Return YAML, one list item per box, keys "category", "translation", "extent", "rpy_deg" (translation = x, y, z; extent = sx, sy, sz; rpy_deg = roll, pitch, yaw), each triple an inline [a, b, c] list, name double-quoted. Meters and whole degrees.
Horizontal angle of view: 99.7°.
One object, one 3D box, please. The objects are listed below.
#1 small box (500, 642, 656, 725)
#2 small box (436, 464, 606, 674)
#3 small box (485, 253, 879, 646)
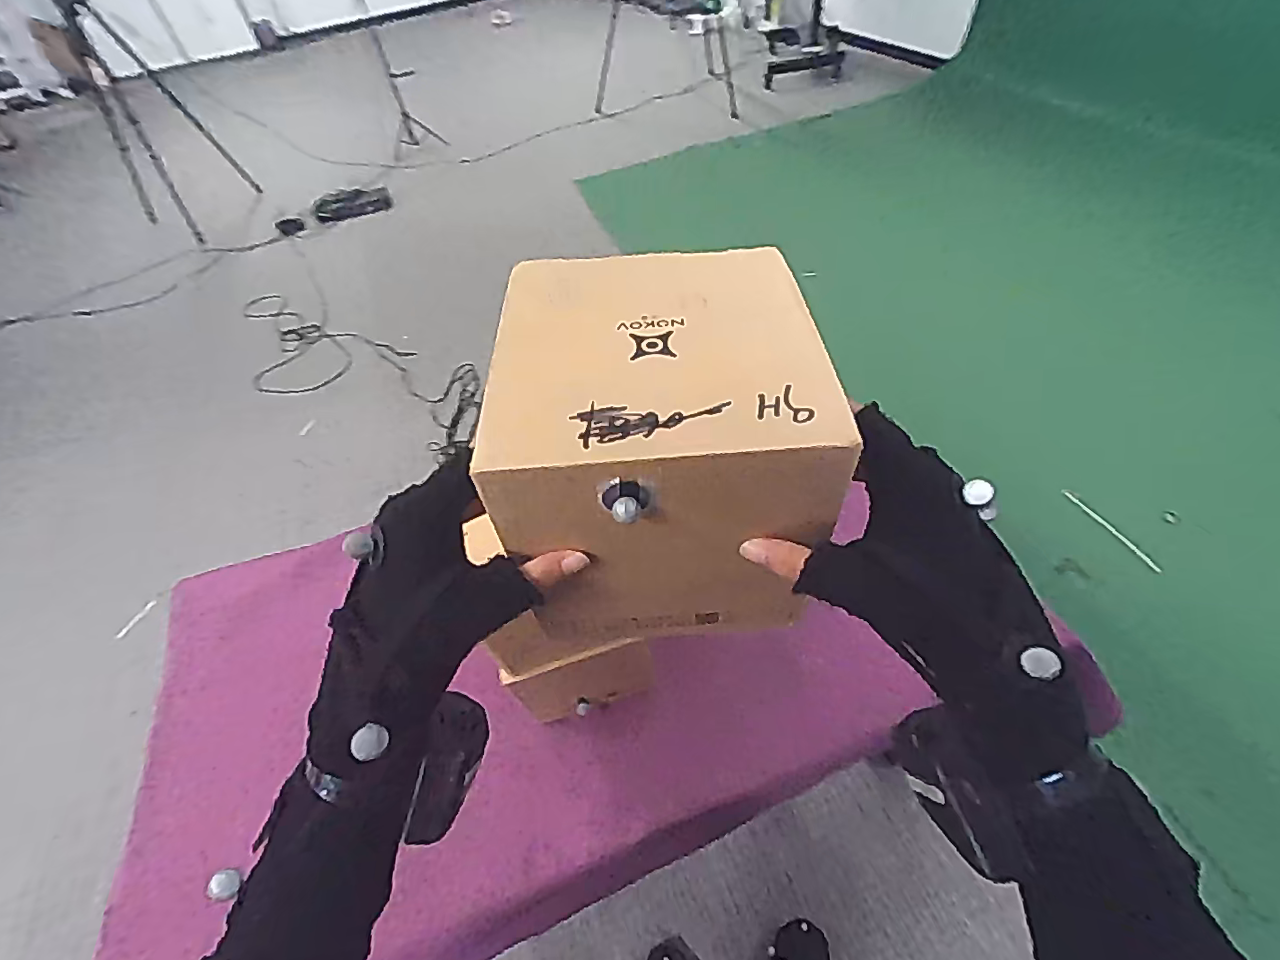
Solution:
- category: "small box"
  translation: [-0.085, 0.189, 0.706]
  extent: [0.168, 0.176, 0.179]
  rpy_deg: [-17, 51, -5]
- category: "small box"
  translation: [-0.098, 0.084, 0.583]
  extent: [0.179, 0.176, 0.168]
  rpy_deg: [-18, 51, -6]
- category: "small box"
  translation: [0.019, -0.017, 0.336]
  extent: [0.168, 0.176, 0.179]
  rpy_deg: [-4, 49, 2]
